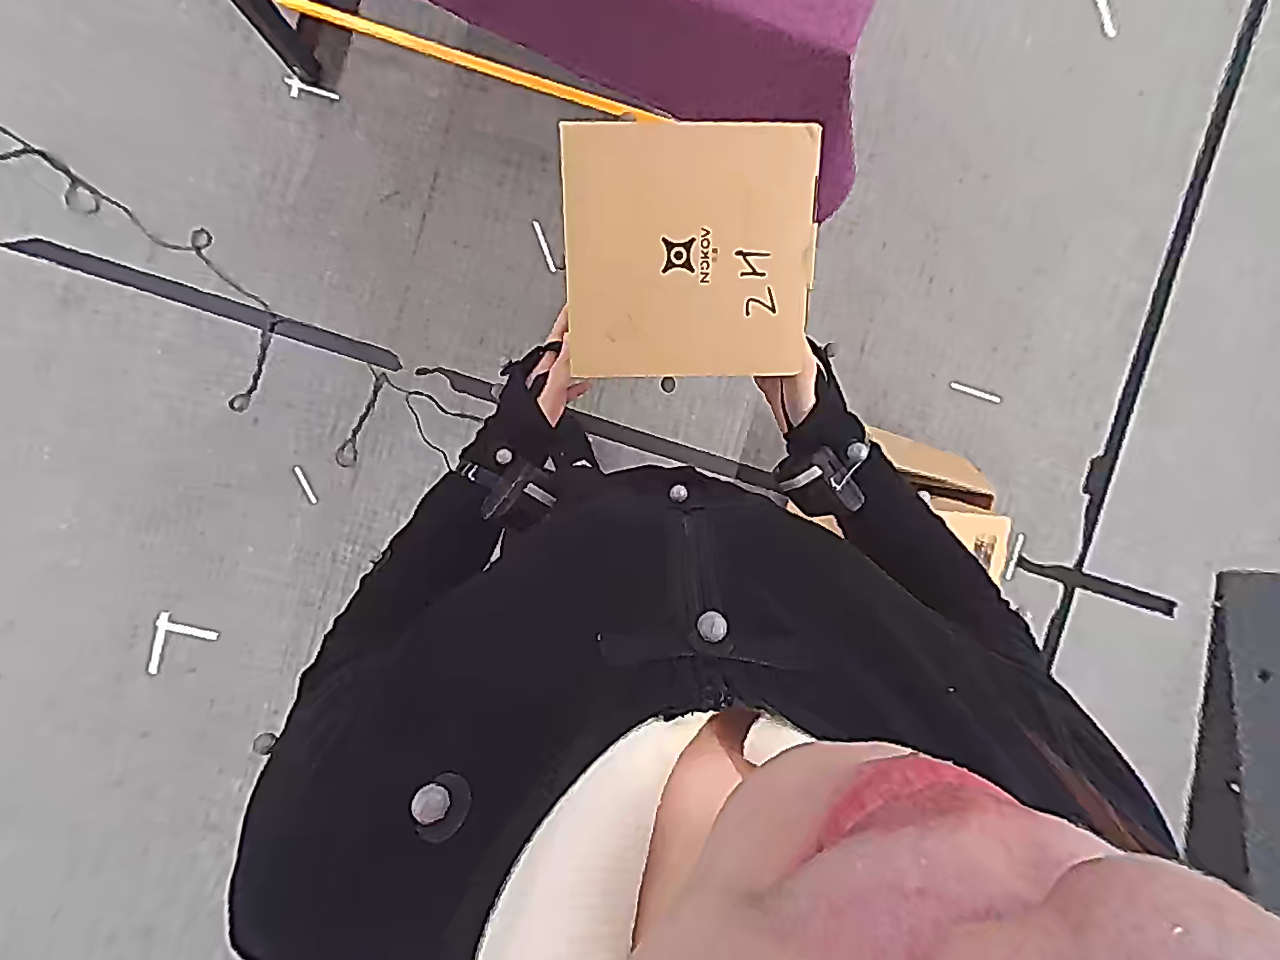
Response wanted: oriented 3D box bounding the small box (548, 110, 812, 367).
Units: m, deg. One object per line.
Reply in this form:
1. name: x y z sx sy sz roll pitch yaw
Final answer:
1. small box: 0.023 -0.182 0.450 0.179 0.176 0.168 -1 107 -3

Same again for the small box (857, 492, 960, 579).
1. small box: 0.627 0.123 1.277 0.168 0.176 0.179 -4 97 1
